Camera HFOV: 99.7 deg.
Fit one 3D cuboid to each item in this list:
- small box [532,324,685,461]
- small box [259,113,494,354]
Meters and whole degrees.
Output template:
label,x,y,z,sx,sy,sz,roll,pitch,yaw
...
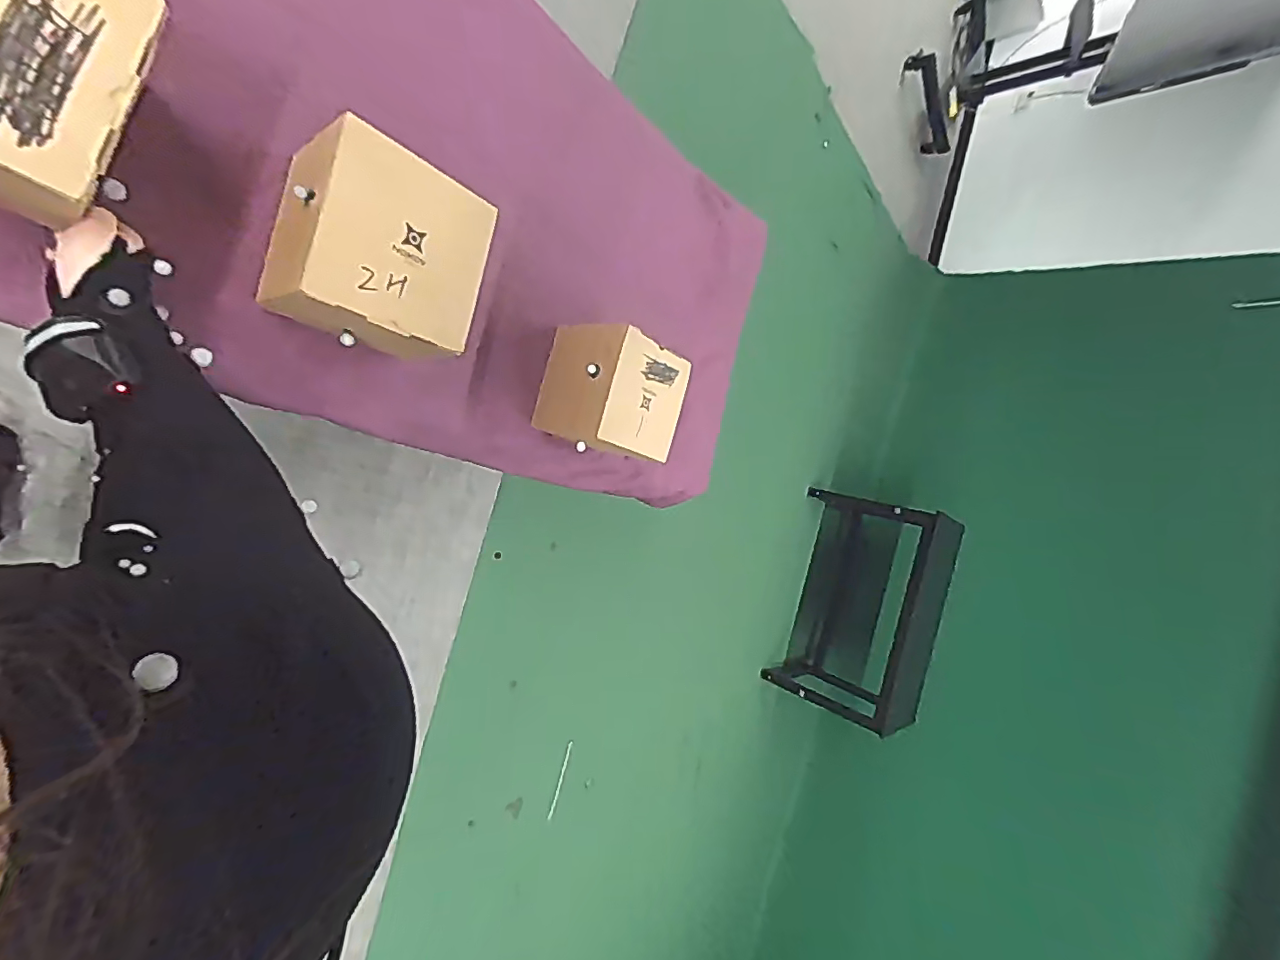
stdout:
label,x,y,z,sx,sy,sz,roll,pitch,yaw
small box,-0.055,-0.144,0.897,0.168,0.176,0.179,18,87,-48
small box,-0.295,-0.251,0.603,0.168,0.176,0.179,16,87,-48
